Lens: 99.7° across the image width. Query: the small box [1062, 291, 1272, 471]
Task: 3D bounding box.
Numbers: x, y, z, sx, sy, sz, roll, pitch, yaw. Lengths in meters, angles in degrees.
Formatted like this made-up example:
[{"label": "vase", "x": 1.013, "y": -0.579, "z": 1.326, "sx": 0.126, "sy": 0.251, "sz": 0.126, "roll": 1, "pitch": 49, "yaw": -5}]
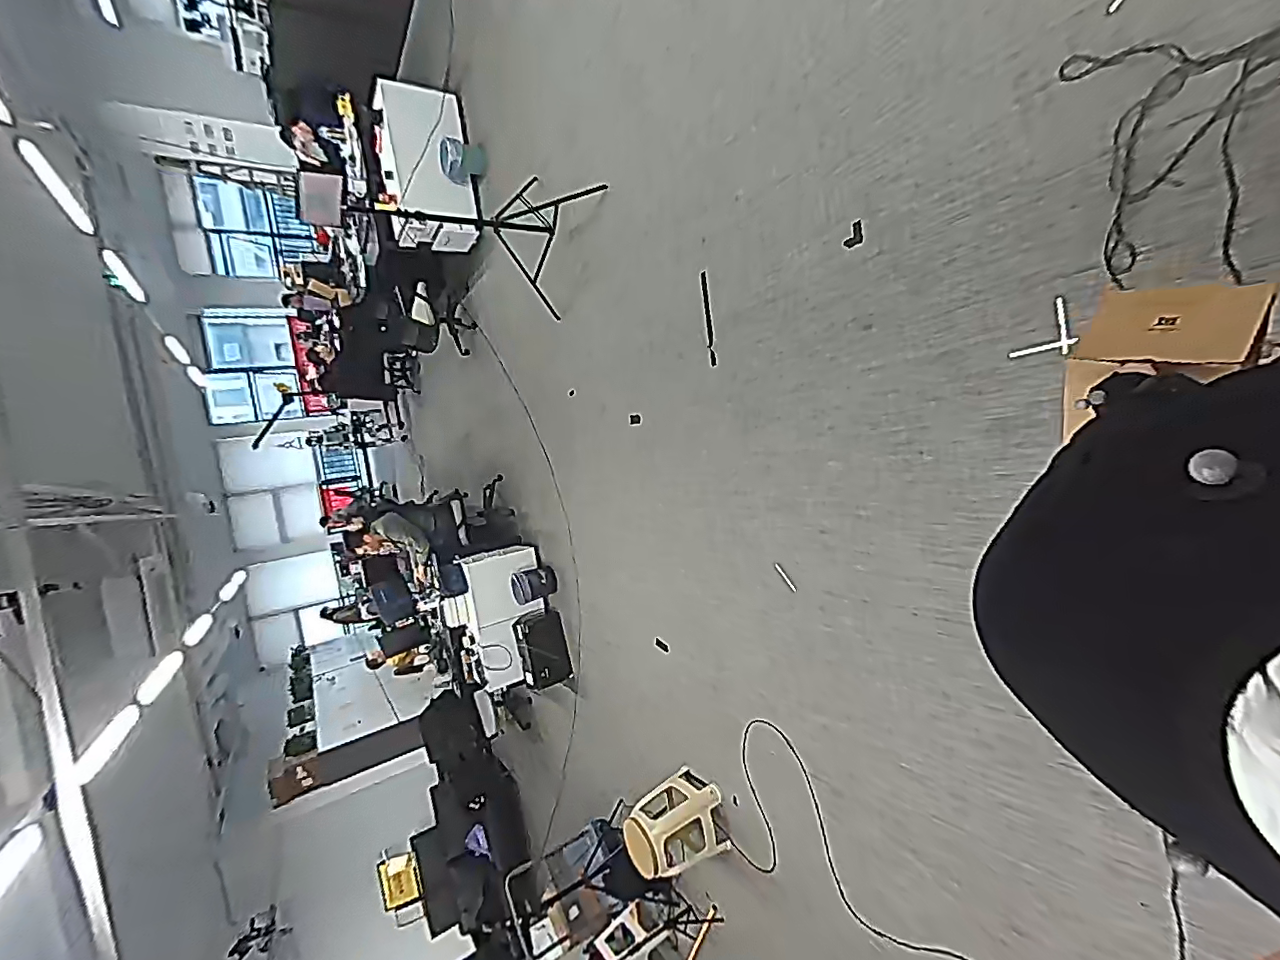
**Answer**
[{"label": "small box", "x": 0.708, "y": -0.136, "z": 0.740, "sx": 0.168, "sy": 0.179, "sz": 0.176, "roll": 19, "pitch": 145, "yaw": 48}]
